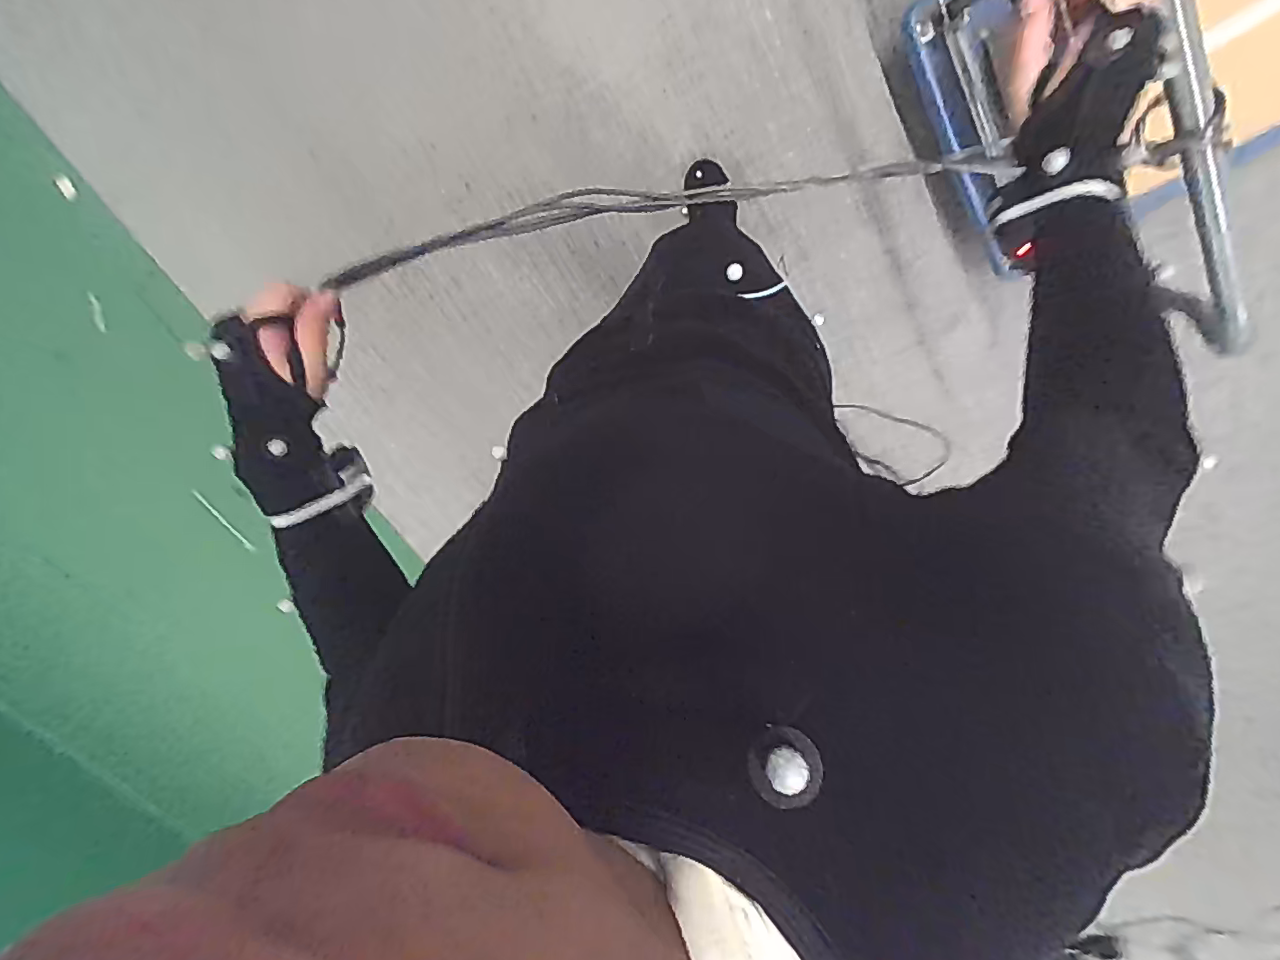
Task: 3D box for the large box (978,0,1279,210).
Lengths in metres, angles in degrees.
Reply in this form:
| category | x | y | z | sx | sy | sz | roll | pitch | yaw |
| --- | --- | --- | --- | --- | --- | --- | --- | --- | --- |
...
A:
| category | x | y | z | sx | sy | sz | roll | pitch | yaw |
| --- | --- | --- | --- | --- | --- | --- | --- | --- | --- |
| large box | 0.860 | -0.696 | 0.875 | 0.408 | 0.320 | 0.320 | -26 | 111 | 20 |
